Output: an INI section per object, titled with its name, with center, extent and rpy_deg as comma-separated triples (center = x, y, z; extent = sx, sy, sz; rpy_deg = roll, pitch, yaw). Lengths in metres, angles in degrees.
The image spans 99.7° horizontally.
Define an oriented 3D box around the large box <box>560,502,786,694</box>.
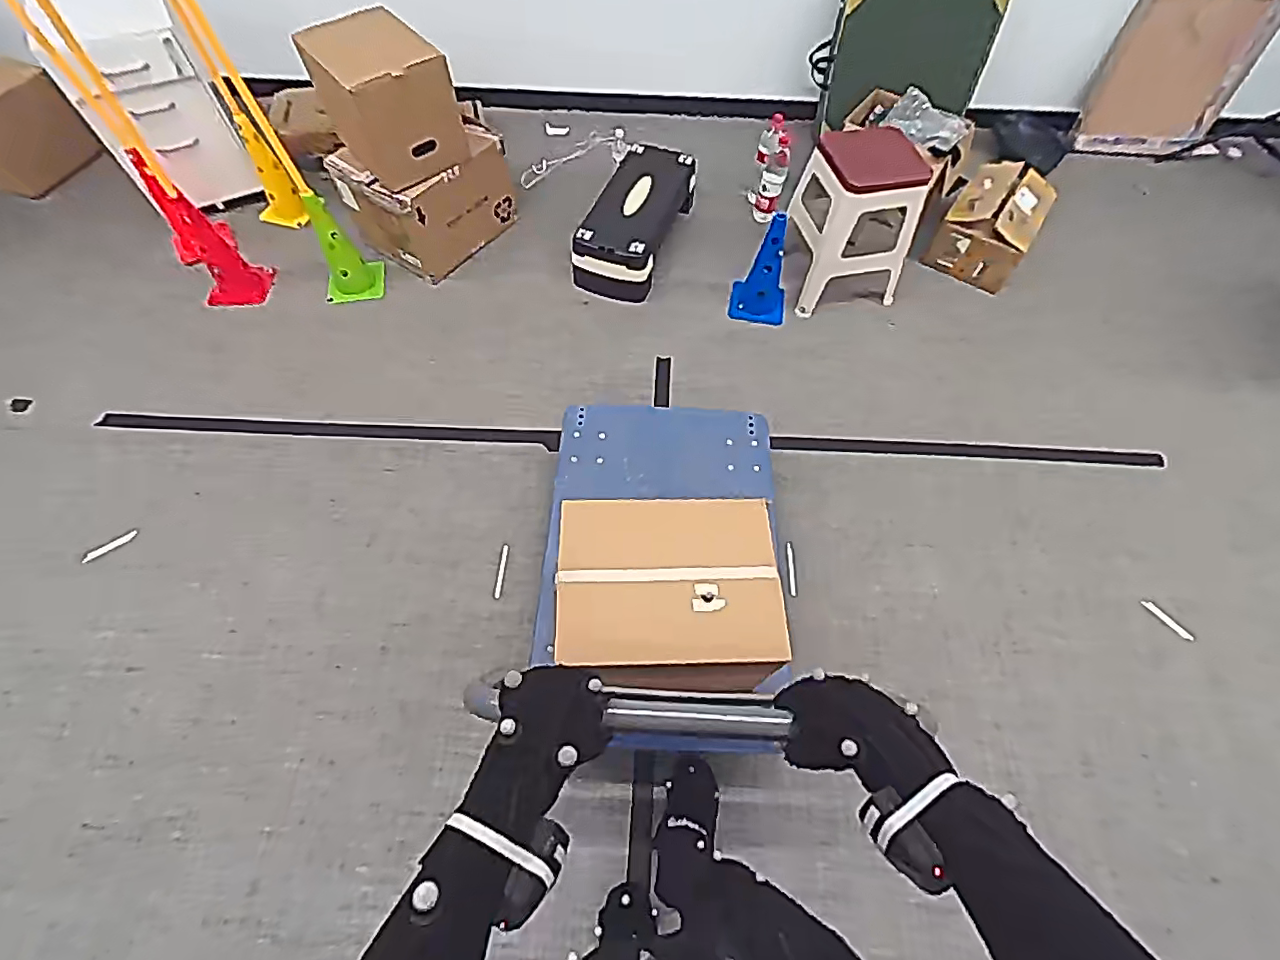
[large box]
center = 0.045, 0.255, 1.135
extent = 0.408, 0.320, 0.320
rpy_deg = 0, 61, -3
